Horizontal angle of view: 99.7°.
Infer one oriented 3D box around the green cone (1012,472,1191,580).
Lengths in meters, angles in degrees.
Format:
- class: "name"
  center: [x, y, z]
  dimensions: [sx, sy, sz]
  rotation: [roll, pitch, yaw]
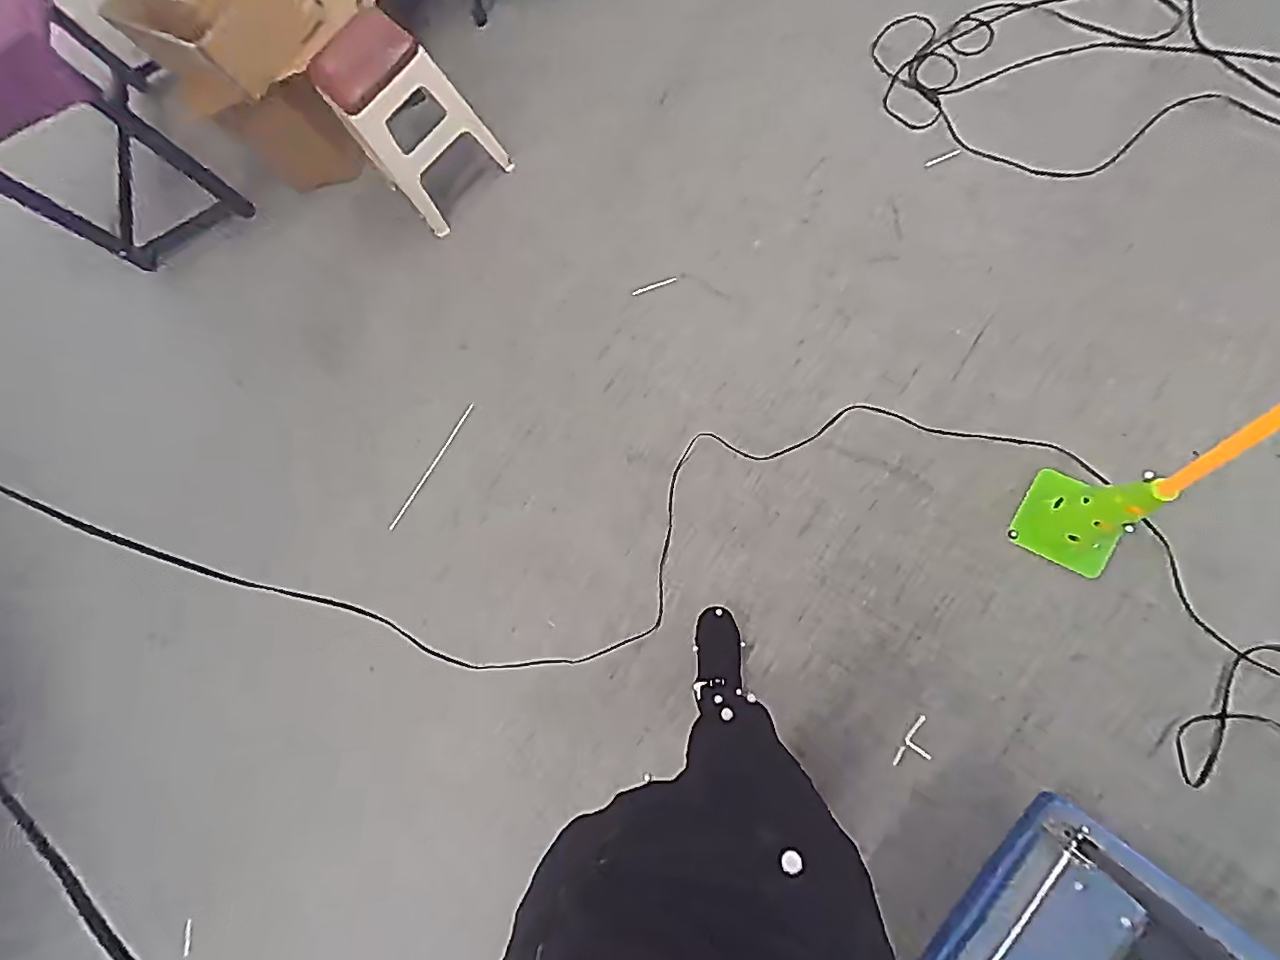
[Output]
- class: "green cone"
  center: [0.945, 0.058, 1.070]
  dimensions: [0.200, 0.368, 0.202]
  rotation: [28, 84, 20]
